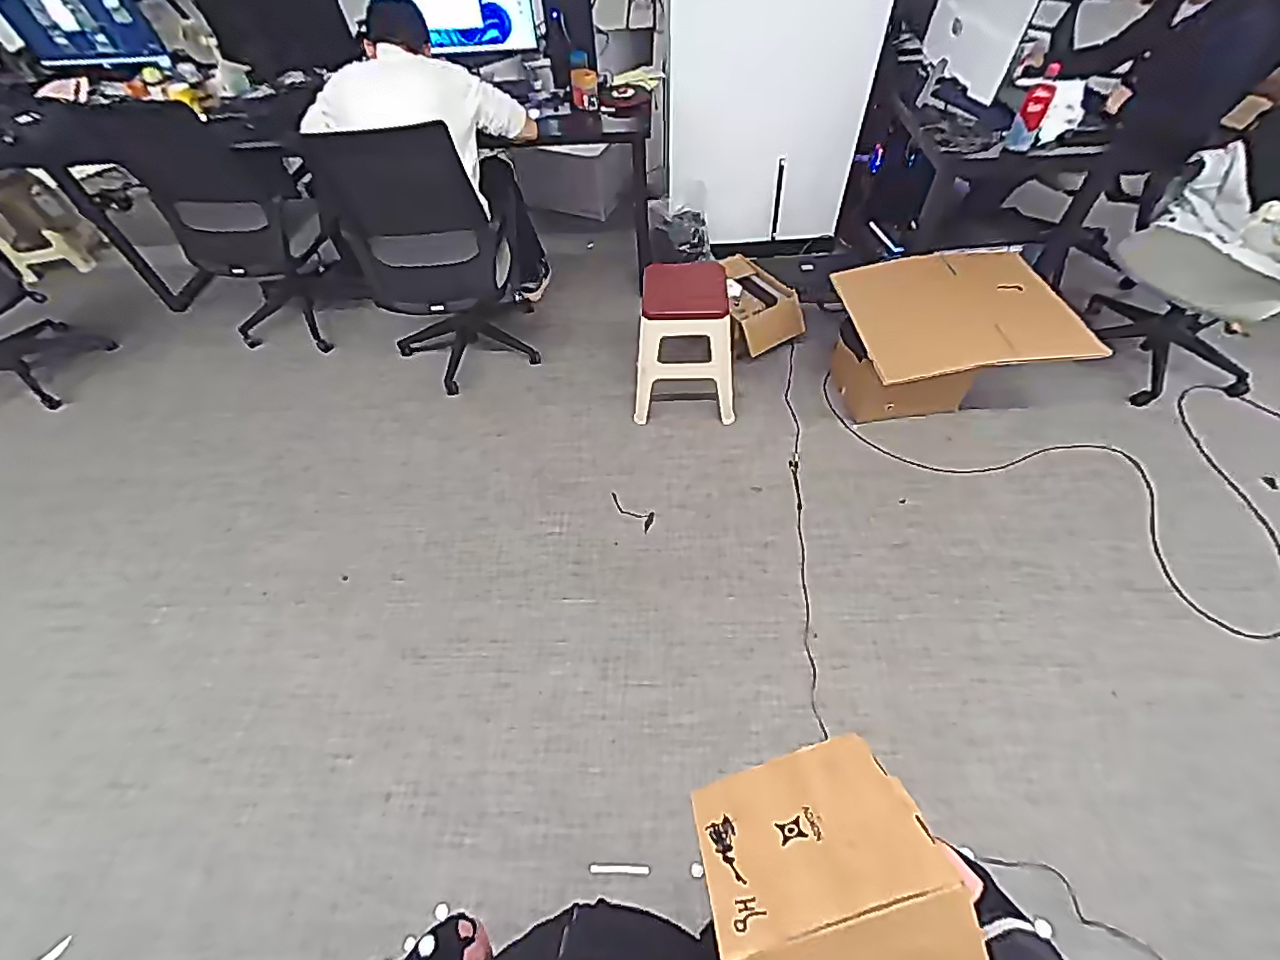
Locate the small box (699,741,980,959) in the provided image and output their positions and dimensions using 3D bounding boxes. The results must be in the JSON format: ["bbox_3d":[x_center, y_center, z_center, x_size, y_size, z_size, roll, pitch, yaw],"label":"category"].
[{"bbox_3d":[0.168,0.373,0.470,0.179,0.168,0.176,-20,98,0],"label":"small box"}]
